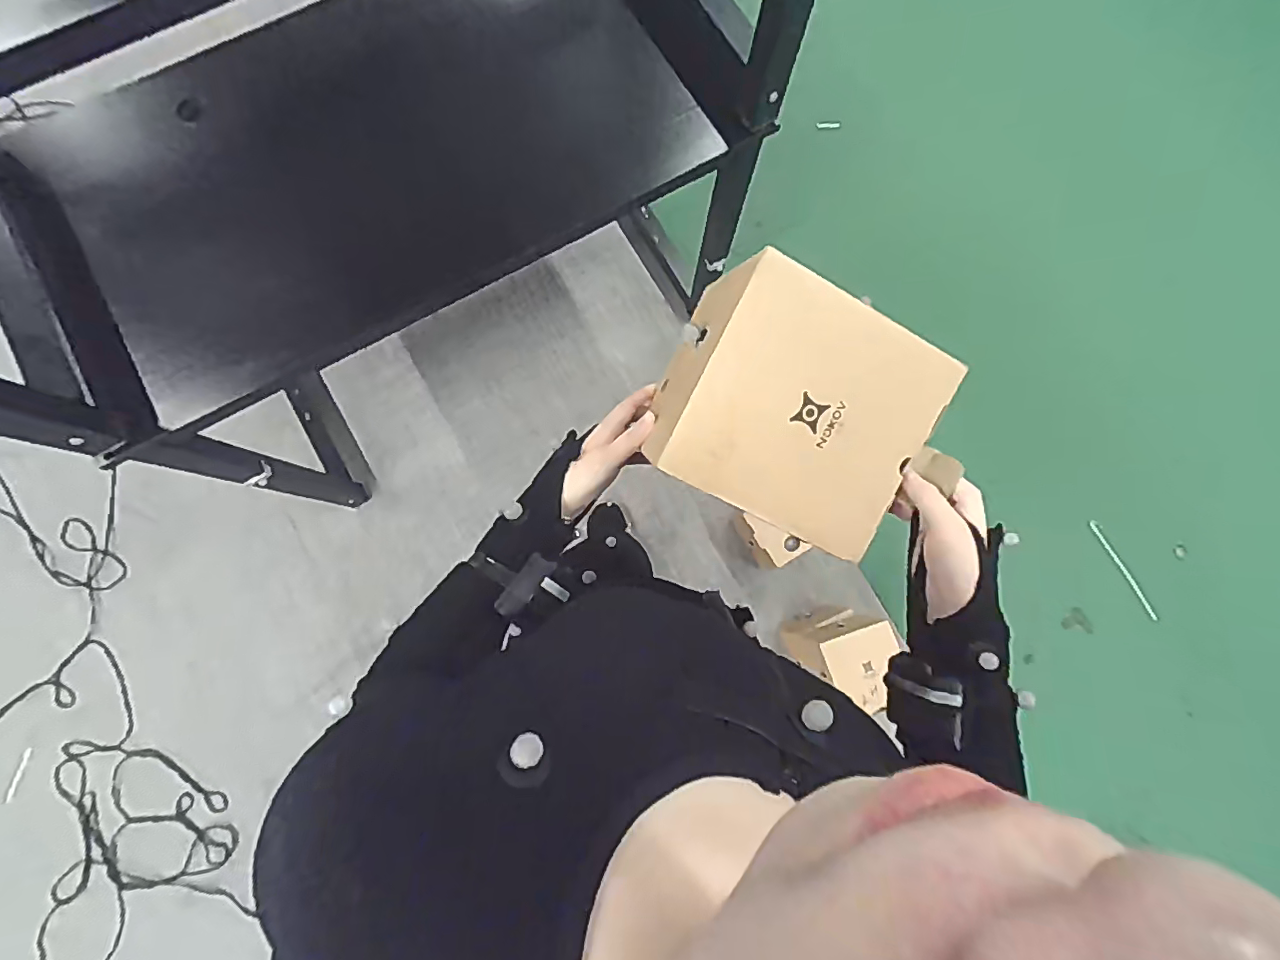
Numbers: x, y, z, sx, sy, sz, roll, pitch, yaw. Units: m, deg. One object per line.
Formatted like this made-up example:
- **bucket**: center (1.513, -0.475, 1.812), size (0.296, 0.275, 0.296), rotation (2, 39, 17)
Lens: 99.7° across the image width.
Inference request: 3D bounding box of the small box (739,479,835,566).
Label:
- **small box**: center (0.378, 0.120, 1.438), size (0.179, 0.176, 0.168), rotation (-31, 82, -6)

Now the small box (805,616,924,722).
- **small box**: center (0.496, 0.416, 1.224), size (0.168, 0.176, 0.179), rotation (-18, 82, -2)
